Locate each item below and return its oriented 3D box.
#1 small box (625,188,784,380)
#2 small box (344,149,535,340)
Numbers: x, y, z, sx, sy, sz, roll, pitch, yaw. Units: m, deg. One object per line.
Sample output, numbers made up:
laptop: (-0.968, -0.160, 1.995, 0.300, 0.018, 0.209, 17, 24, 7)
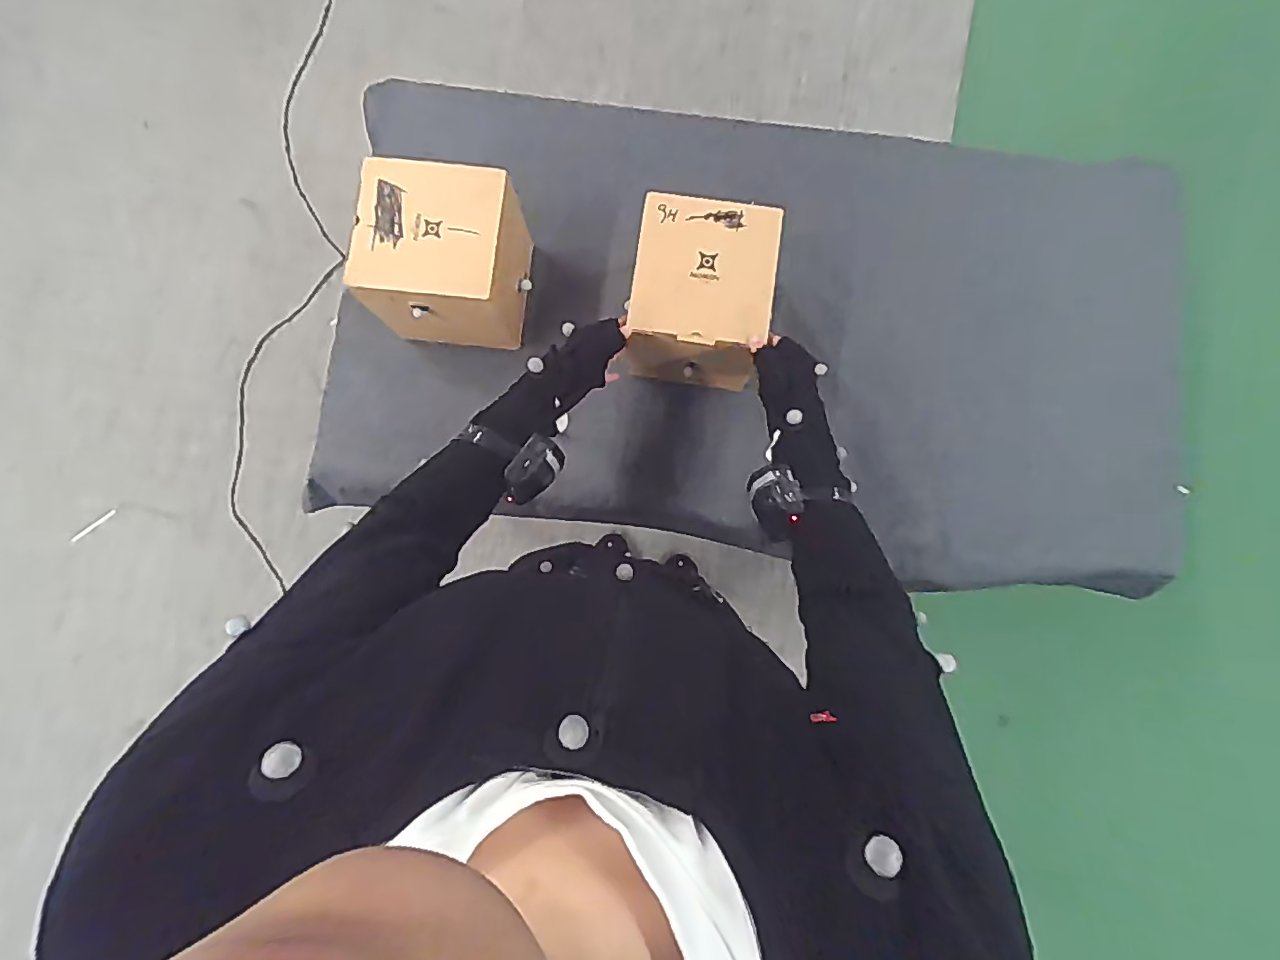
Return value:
small box: (0.078, -0.241, 0.708, 0.168, 0.176, 0.179, 9, 85, 1)
small box: (-0.249, -0.296, 0.714, 0.179, 0.176, 0.168, 6, 84, 0)
